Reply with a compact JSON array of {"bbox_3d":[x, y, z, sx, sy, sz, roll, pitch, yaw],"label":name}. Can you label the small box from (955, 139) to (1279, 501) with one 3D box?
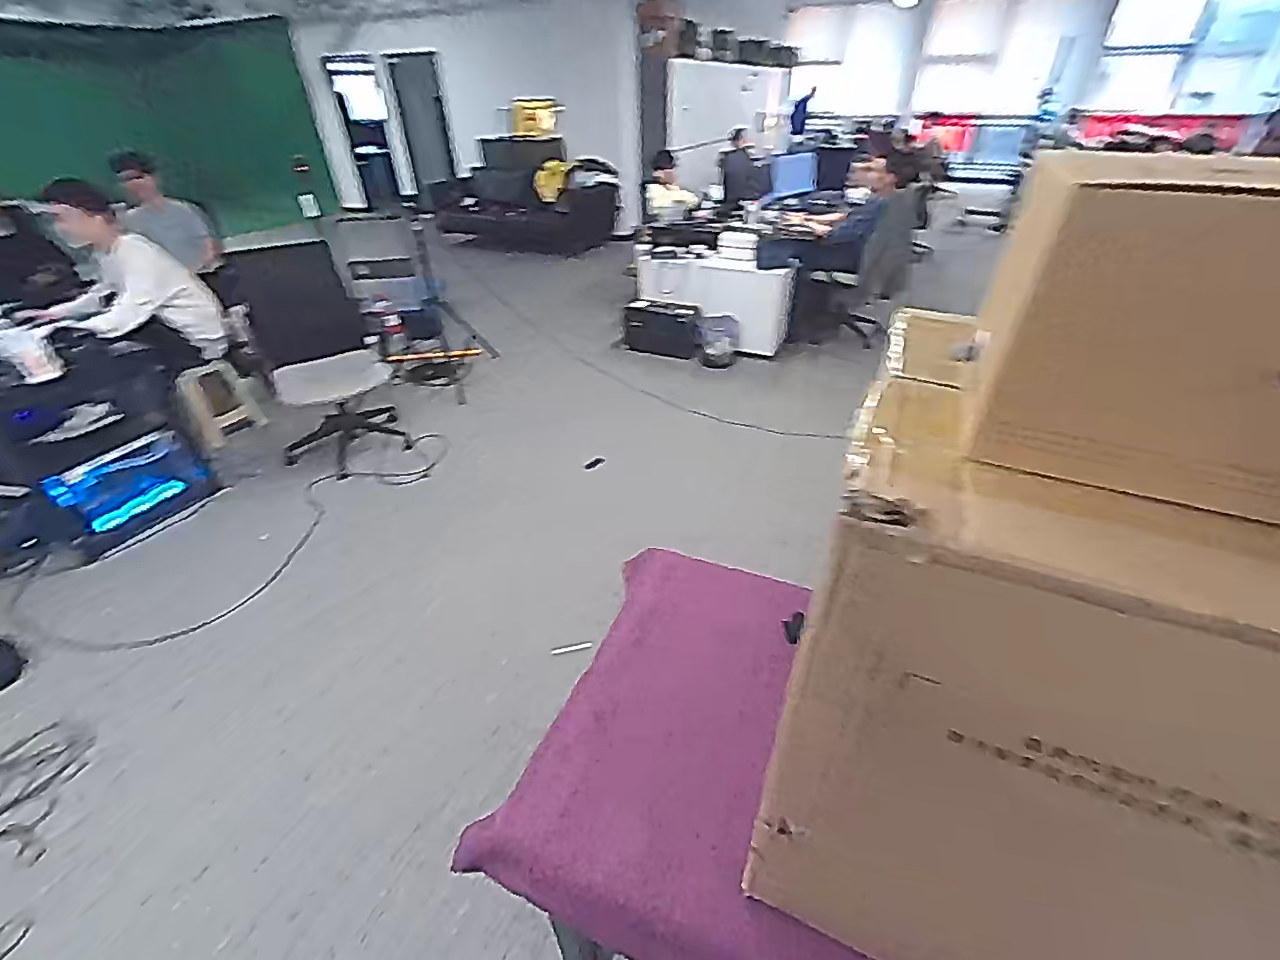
[{"bbox_3d":[0.325,-0.108,0.342,0.179,0.176,0.168,14,38,20],"label":"small box"}]
